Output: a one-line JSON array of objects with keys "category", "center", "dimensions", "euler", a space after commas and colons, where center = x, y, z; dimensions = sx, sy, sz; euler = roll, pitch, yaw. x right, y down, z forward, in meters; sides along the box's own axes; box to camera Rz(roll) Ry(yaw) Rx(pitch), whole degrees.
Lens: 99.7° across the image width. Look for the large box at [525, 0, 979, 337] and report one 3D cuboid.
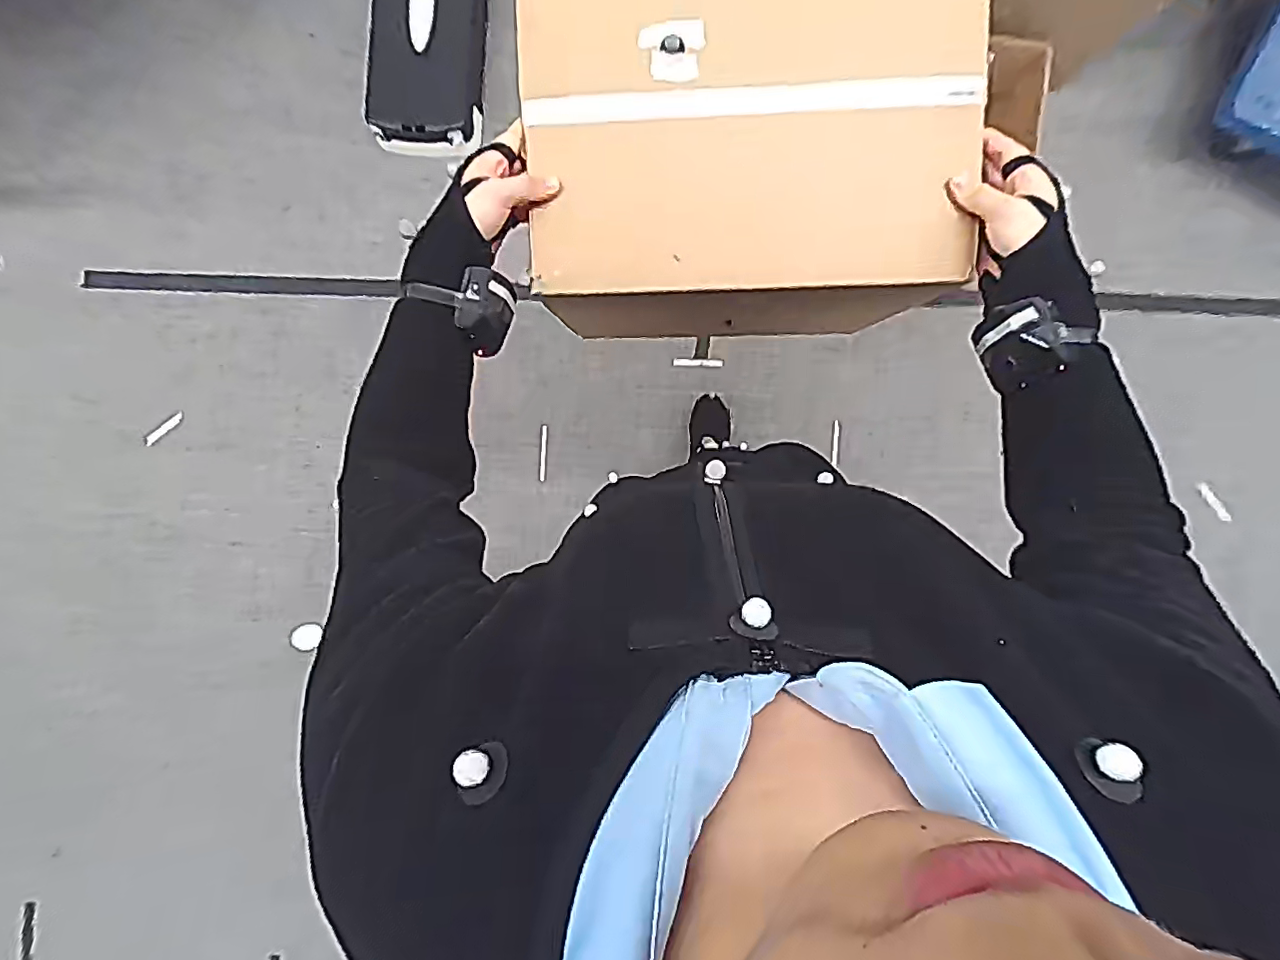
[{"category": "large box", "center": [0.109, -0.353, 0.636], "dimensions": [0.408, 0.320, 0.320], "euler": [-1, 95, 4]}]
